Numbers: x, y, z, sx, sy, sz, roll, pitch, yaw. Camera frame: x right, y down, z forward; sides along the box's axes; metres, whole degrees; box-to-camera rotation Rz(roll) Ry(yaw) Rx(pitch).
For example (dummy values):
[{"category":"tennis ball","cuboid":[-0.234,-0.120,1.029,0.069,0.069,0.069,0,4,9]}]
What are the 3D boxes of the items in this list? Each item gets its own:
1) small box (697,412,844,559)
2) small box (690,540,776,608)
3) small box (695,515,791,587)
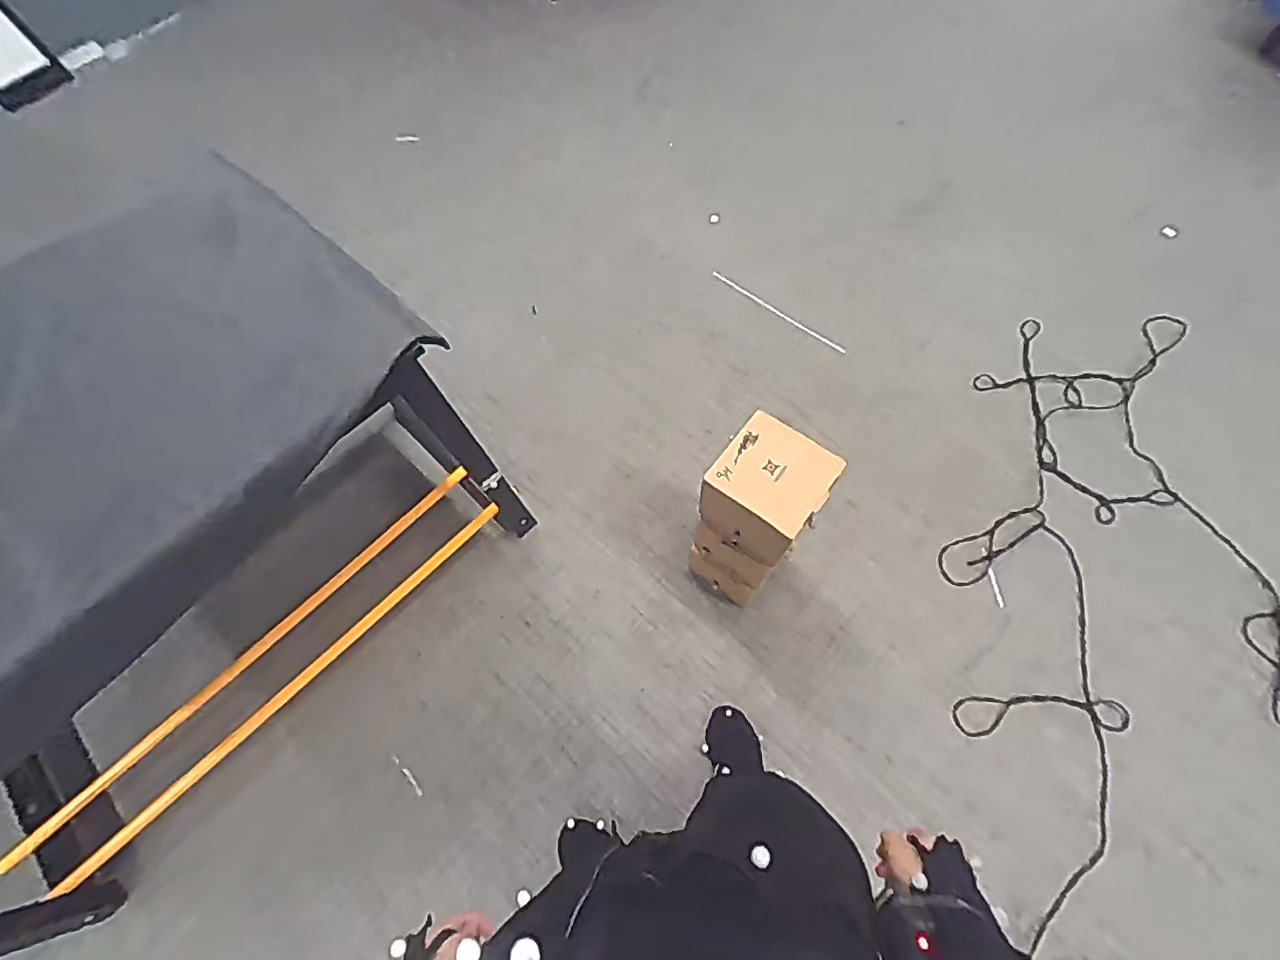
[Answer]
[{"category":"small box","cuboid":[0.219,0.021,0.952,0.179,0.176,0.168,36,72,16]},{"category":"small box","cuboid":[0.226,0.167,1.246,0.168,0.176,0.179,34,72,17]},{"category":"small box","cuboid":[0.226,0.092,1.100,0.168,0.176,0.179,35,71,17]}]
